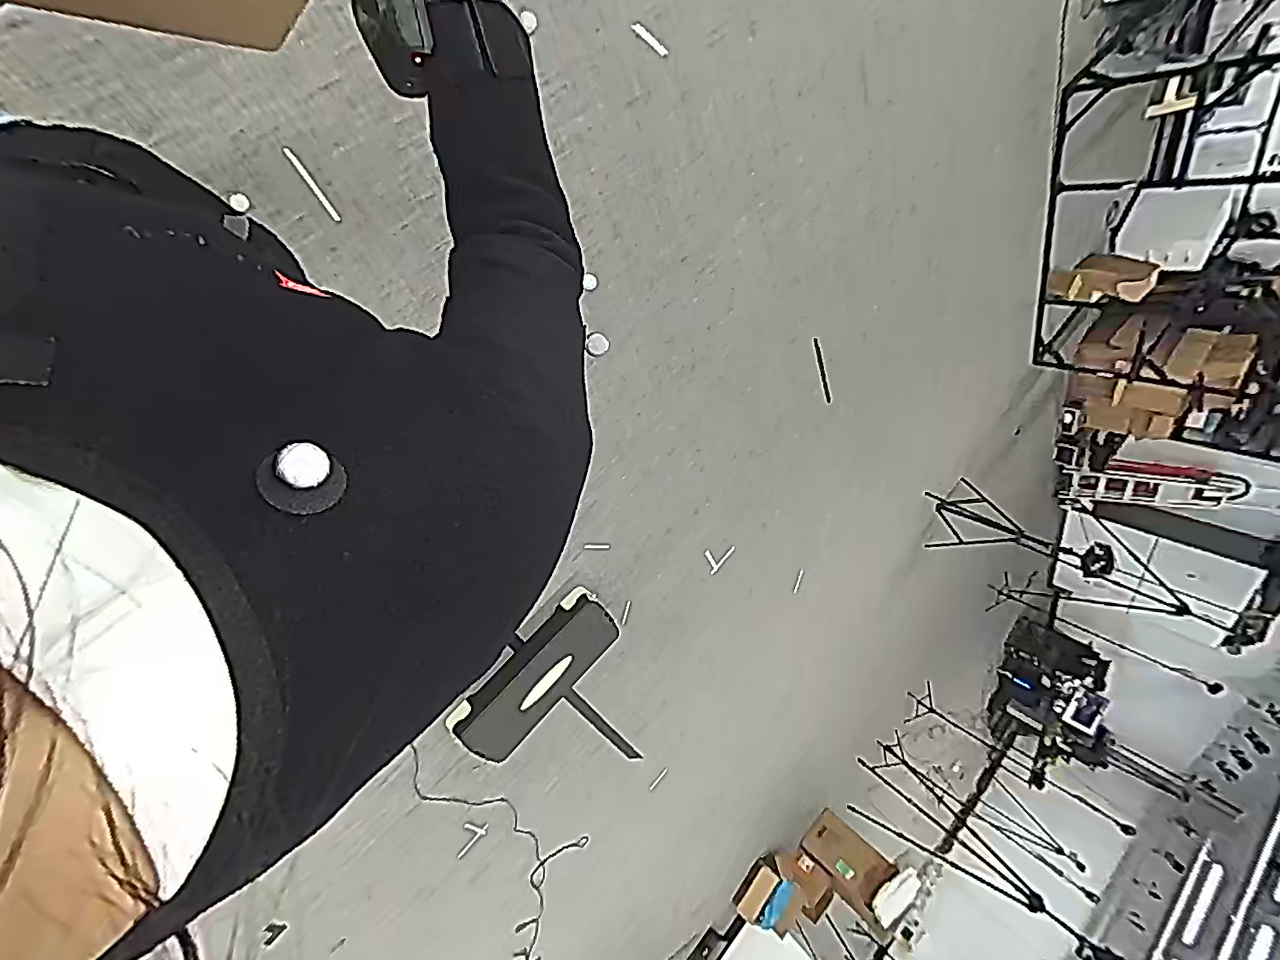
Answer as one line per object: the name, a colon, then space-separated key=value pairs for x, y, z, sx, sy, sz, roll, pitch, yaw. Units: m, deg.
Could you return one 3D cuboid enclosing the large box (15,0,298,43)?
large box: x=-0.409 y=-0.449 z=0.235 sx=0.408 sy=0.320 sz=0.320 roll=-17 pitch=122 yaw=-35
